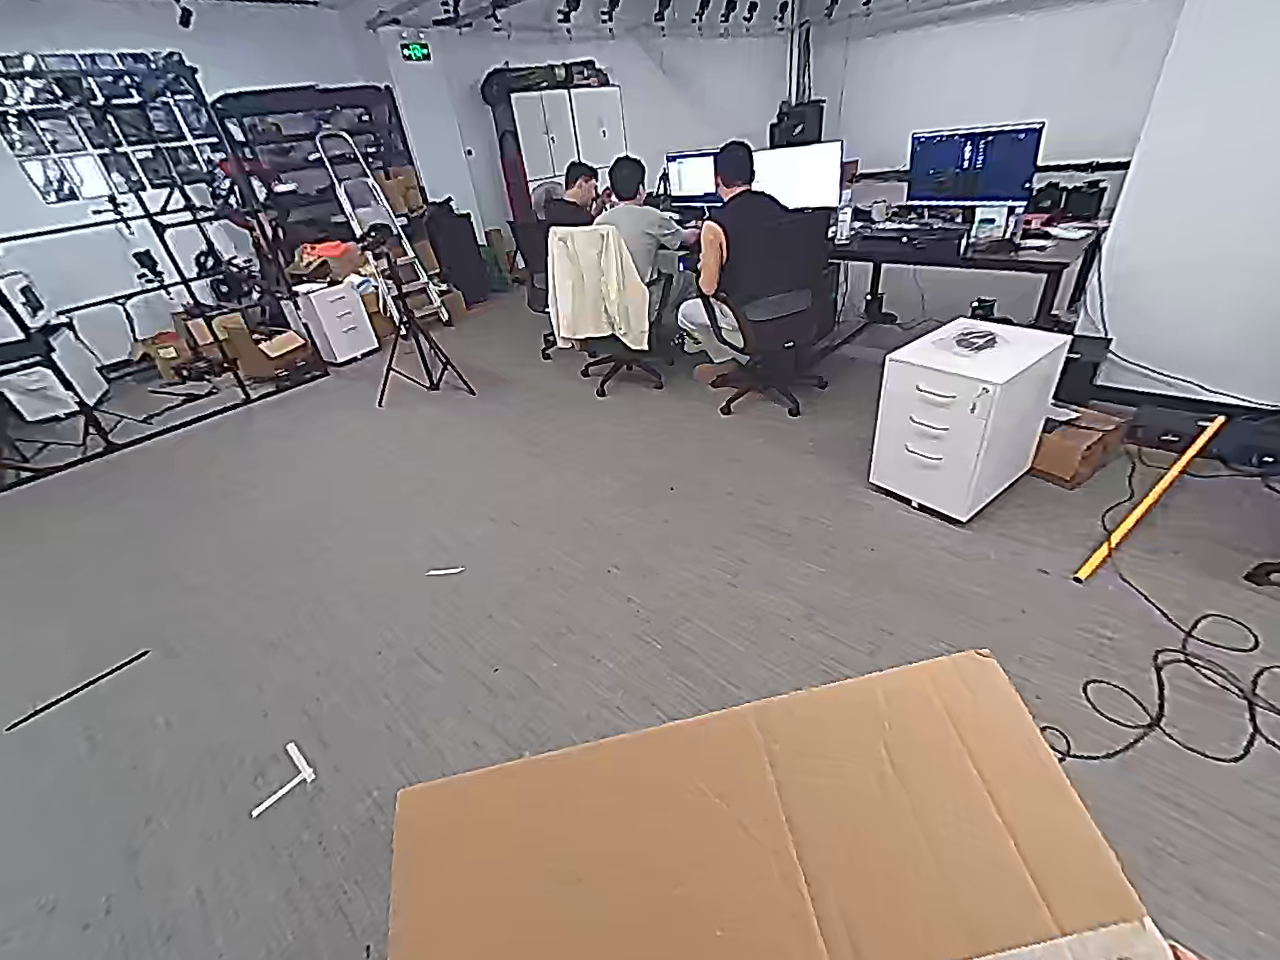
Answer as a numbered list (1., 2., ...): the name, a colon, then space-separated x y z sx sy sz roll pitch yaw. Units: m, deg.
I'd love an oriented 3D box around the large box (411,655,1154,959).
1. large box: 0.088 0.372 0.401 0.408 0.320 0.320 -13 55 -1
